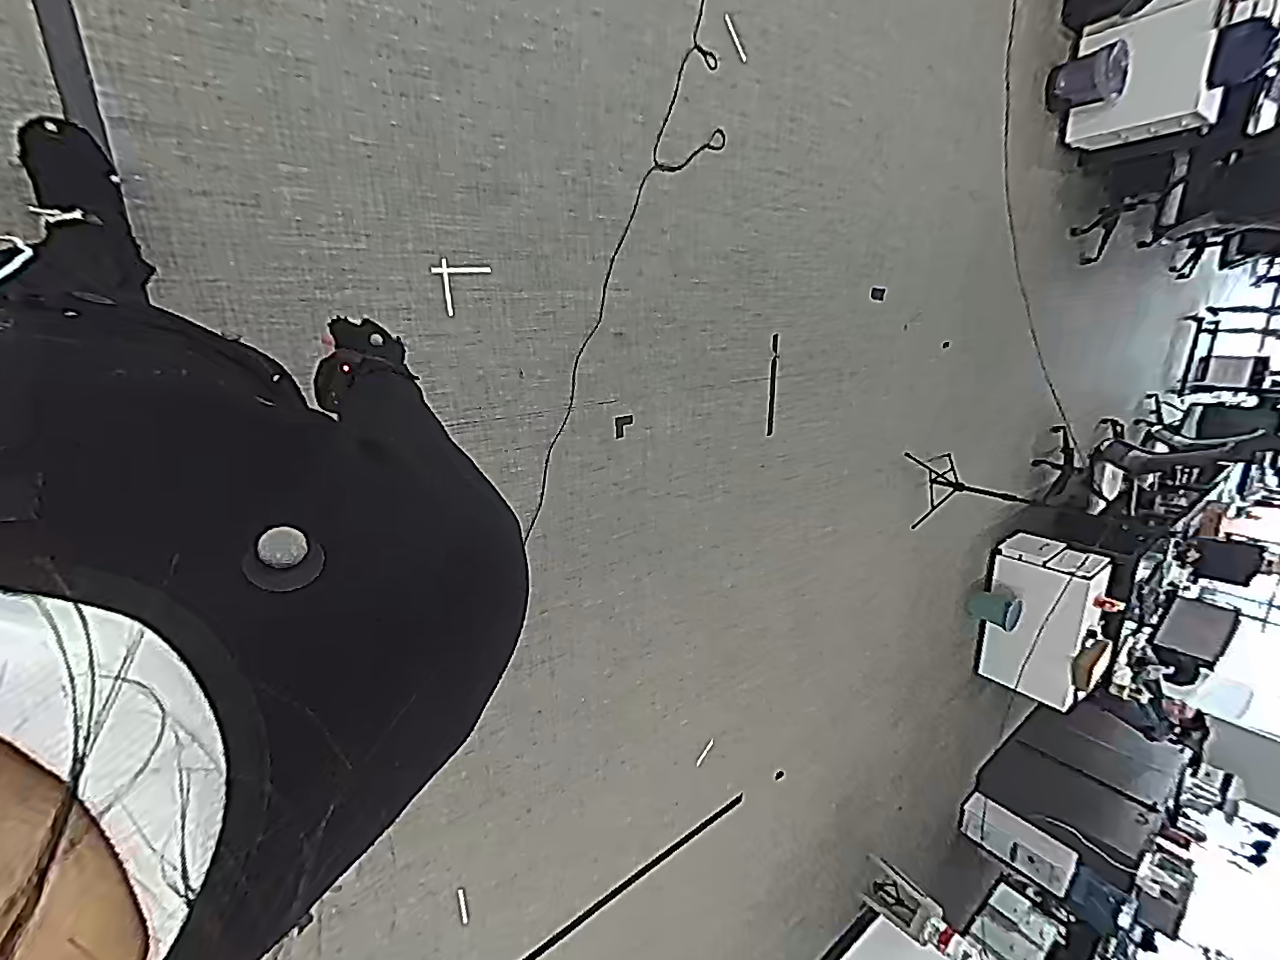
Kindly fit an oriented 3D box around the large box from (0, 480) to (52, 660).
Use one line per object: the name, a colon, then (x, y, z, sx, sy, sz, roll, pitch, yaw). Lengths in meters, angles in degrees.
large box: (-0.923, 0.034, 0.541, 0.320, 0.408, 0.320, -28, 153, -35)
